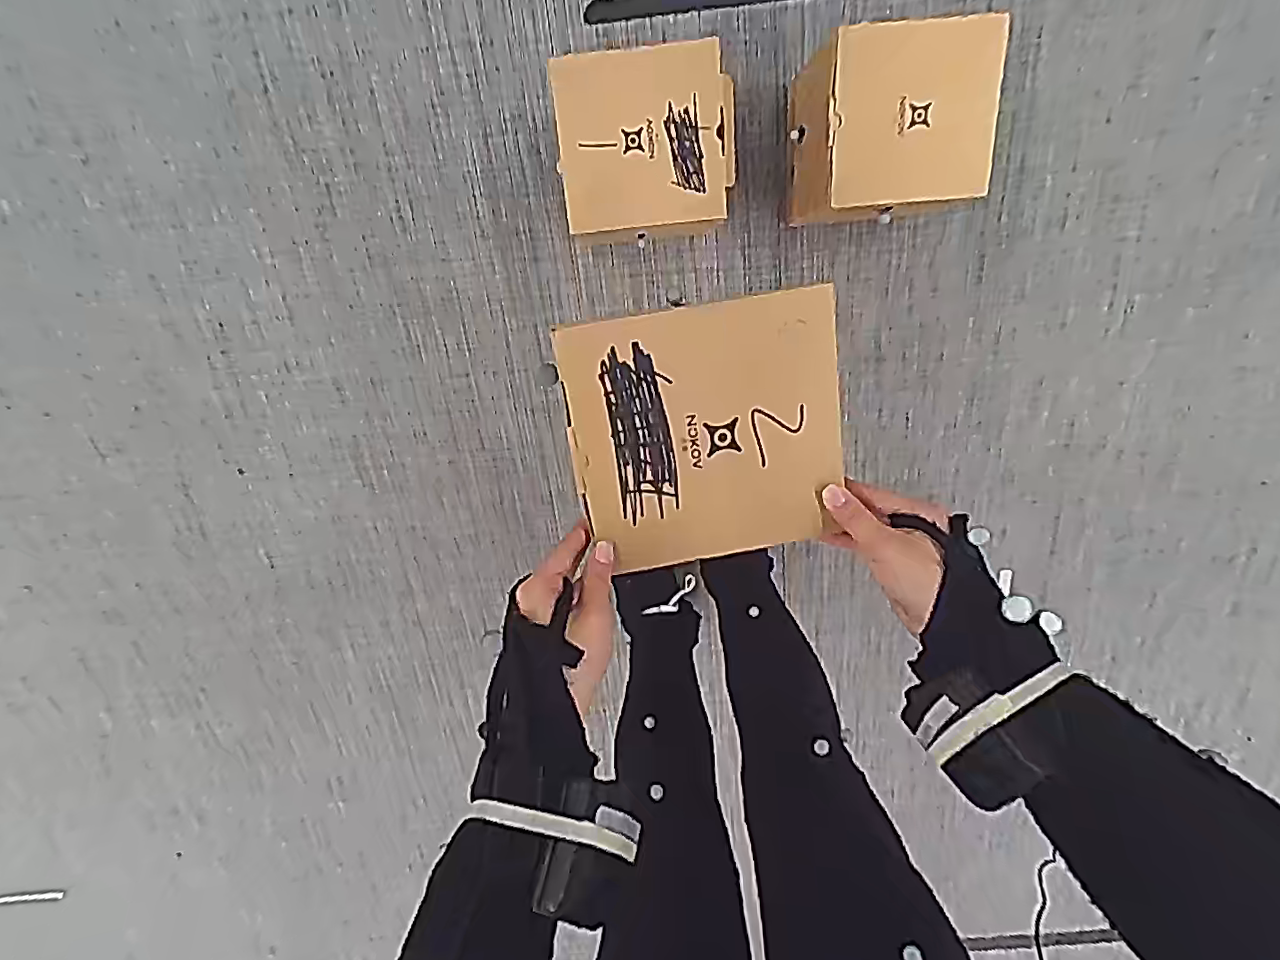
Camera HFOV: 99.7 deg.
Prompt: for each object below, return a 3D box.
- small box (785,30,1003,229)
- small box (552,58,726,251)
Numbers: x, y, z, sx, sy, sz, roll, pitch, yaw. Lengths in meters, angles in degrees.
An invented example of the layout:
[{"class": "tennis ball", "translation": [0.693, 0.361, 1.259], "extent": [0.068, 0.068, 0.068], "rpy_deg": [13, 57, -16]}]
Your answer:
[{"class": "small box", "translation": [0.284, -0.401, 0.647], "extent": [0.179, 0.176, 0.168], "rpy_deg": [-4, 110, 1]}, {"class": "small box", "translation": [0.001, -0.374, 0.651], "extent": [0.179, 0.176, 0.168], "rpy_deg": [-5, 110, 2]}]
